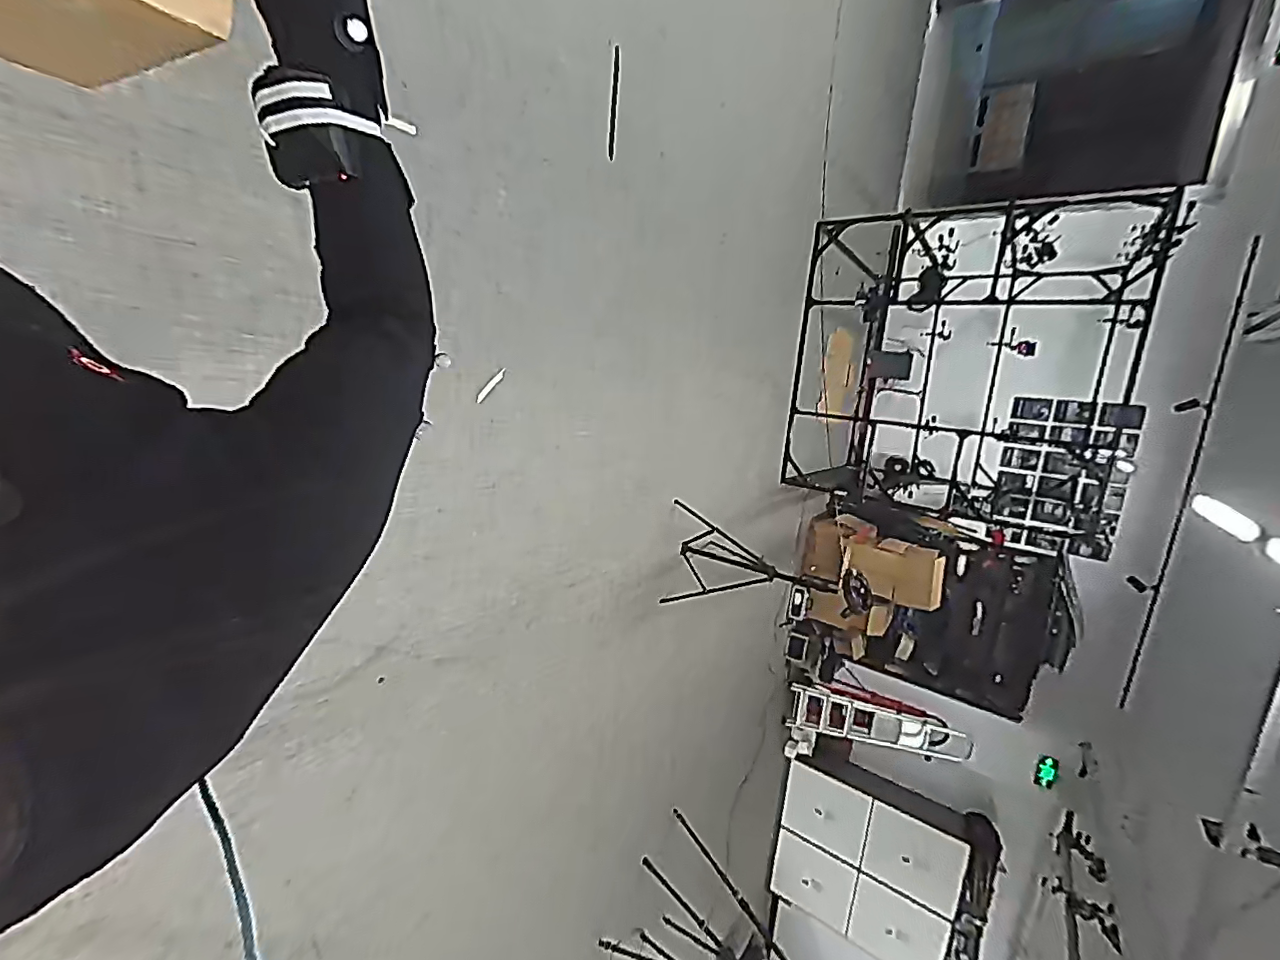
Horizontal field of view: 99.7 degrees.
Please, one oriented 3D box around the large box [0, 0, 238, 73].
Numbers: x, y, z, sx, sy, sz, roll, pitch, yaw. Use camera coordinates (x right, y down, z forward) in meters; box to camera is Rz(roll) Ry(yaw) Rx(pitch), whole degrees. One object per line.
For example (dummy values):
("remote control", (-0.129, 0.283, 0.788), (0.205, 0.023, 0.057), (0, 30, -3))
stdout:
("large box", (-0.477, -0.464, 0.238), (0.408, 0.320, 0.320), (-10, 116, -56))
